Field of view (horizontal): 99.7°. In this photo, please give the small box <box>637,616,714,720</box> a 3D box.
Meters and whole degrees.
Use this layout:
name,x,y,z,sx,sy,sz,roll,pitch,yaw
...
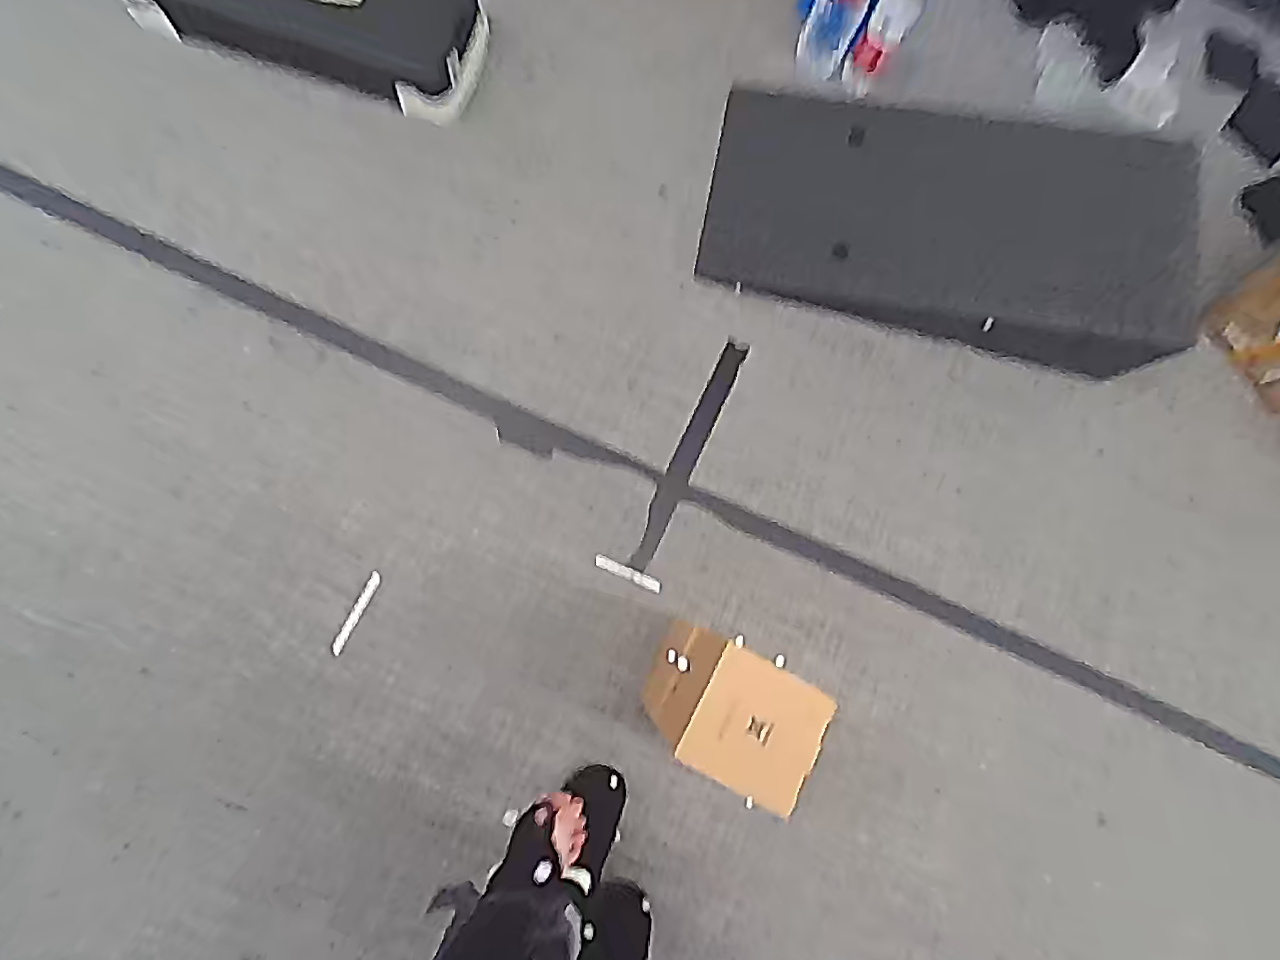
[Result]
name,x,y,z,sx,sy,sz,roll,pitch,yaw
small box,0.113,0.352,0.948,0.179,0.176,0.168,28,79,-4

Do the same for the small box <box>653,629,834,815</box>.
name,x,y,z,sx,sy,sz,roll,pitch,yaw
small box,0.139,0.333,0.787,0.179,0.176,0.168,31,78,-2
